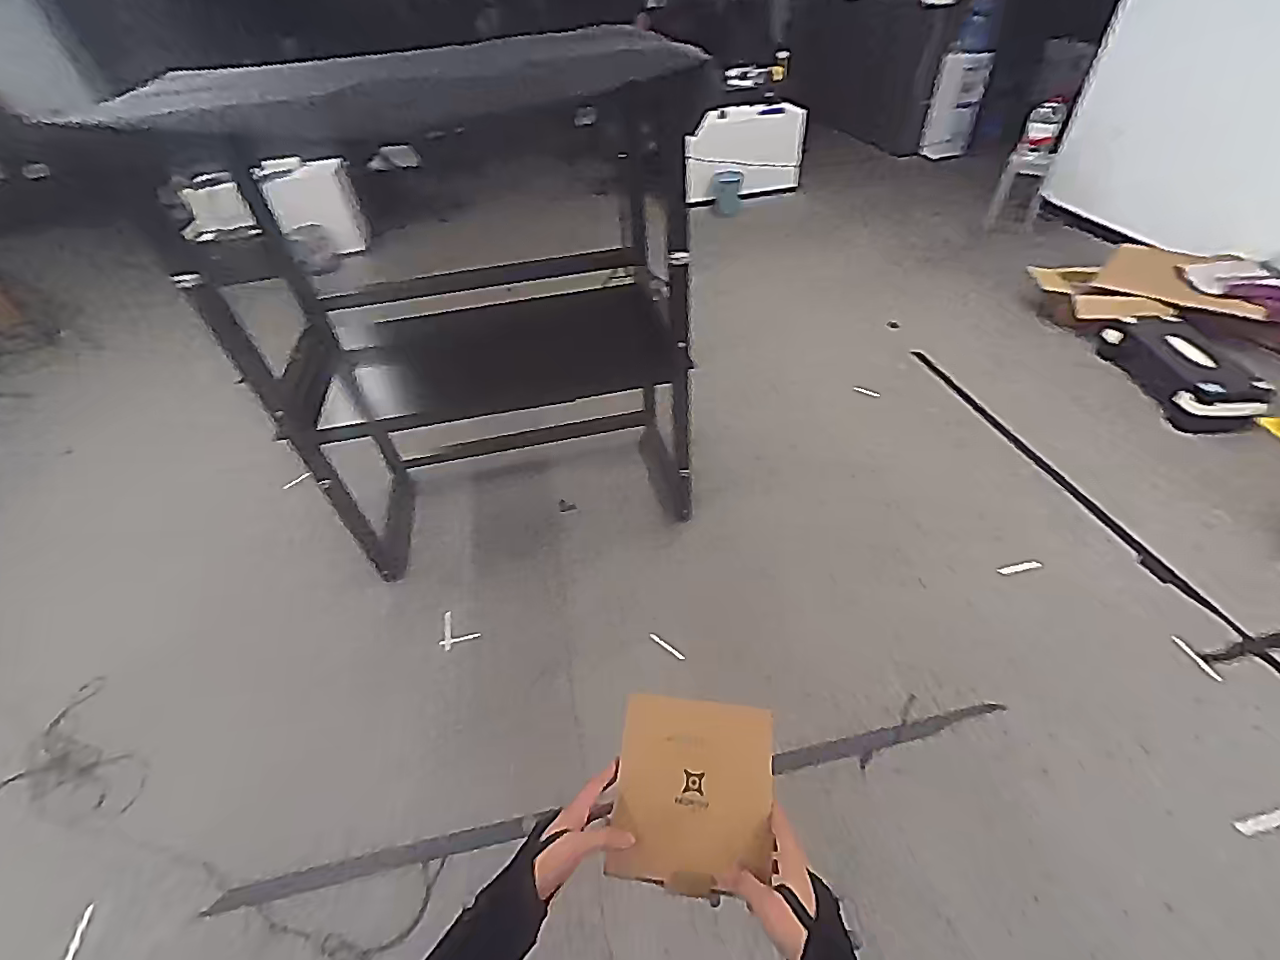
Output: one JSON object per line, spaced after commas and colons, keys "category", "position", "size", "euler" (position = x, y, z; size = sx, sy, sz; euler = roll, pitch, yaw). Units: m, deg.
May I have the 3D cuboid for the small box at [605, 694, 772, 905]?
{"category": "small box", "position": [0.056, 0.367, 0.634], "size": [0.168, 0.176, 0.179], "euler": [6, 58, 3]}
